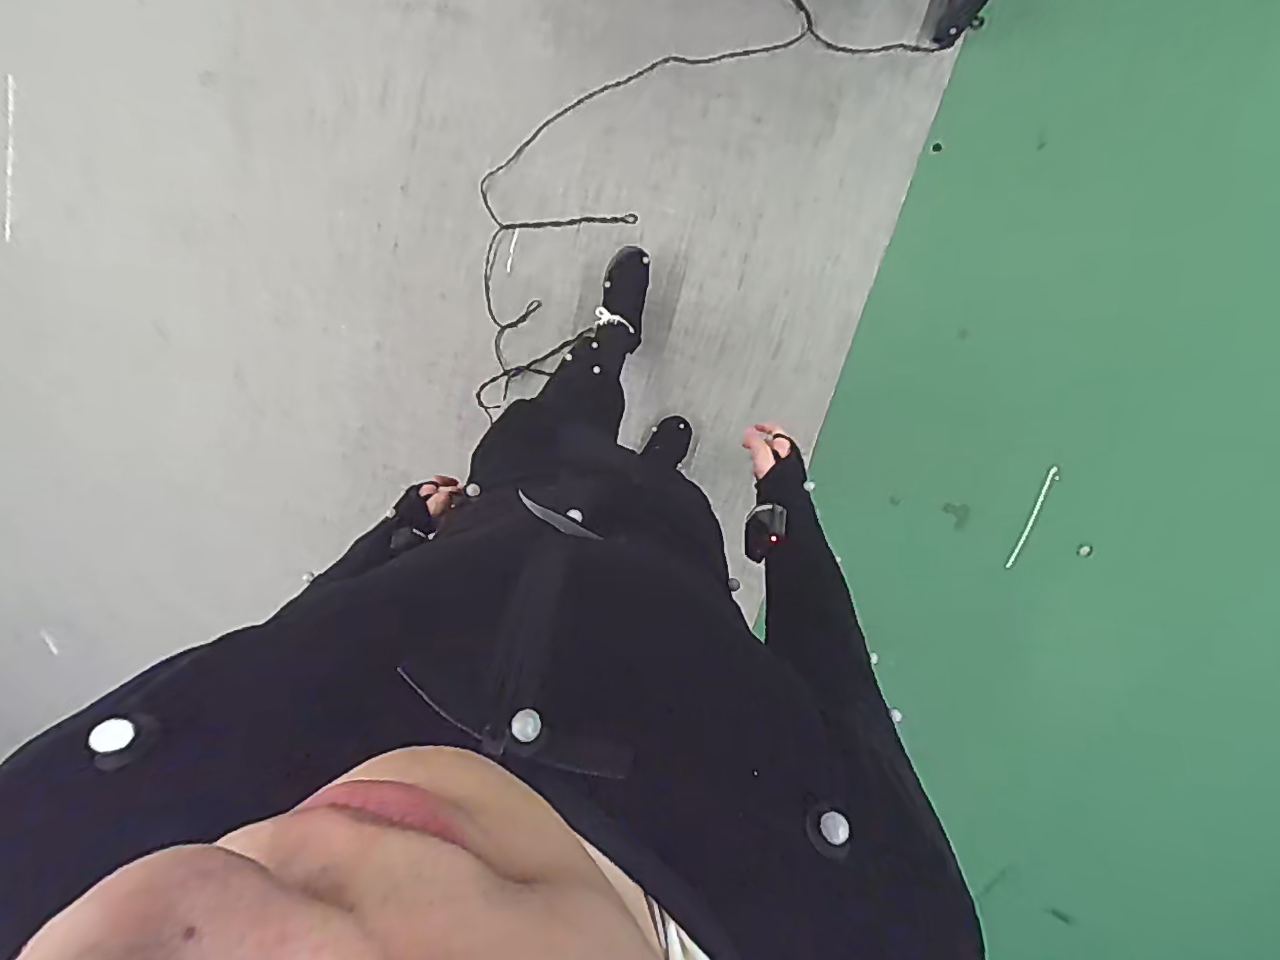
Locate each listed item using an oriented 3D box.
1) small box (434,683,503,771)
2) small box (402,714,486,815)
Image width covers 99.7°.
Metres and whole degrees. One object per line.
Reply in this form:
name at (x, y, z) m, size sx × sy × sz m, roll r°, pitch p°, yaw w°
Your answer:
small box at (-0.546, 0.779, 1.717) m, size 0.168 × 0.176 × 0.179 m, roll 10°, pitch 101°, yaw 2°
small box at (-0.558, 0.810, 1.557) m, size 0.168 × 0.176 × 0.179 m, roll 13°, pitch 102°, yaw 2°
